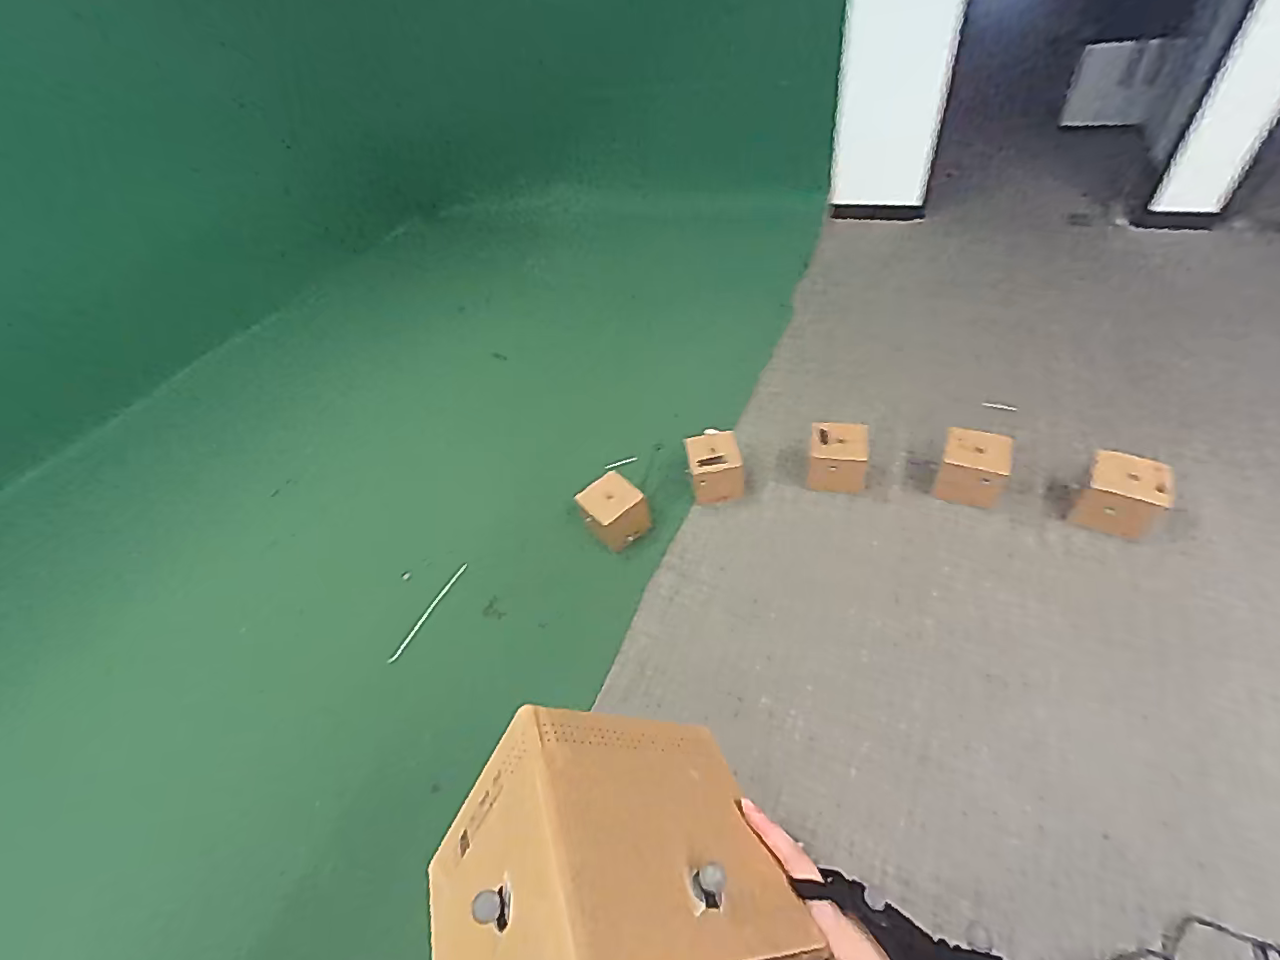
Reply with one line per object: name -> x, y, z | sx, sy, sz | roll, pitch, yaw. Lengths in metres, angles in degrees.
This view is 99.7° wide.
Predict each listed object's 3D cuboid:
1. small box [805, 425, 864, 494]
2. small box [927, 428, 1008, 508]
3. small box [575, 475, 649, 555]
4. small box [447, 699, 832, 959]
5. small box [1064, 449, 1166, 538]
small box -> 0.653, -0.067, 1.827 | 0.179, 0.176, 0.168 | 5, 50, 16
small box -> 1.034, -0.035, 1.713 | 0.179, 0.176, 0.168 | 15, 53, 24
small box -> -0.090, 0.121, 1.828 | 0.168, 0.176, 0.179 | -37, 51, -20
small box -> -0.018, 0.276, 0.369 | 0.168, 0.179, 0.176 | -60, 31, 14
small box -> 1.370, 0.042, 1.569 | 0.179, 0.176, 0.168 | 19, 56, 27
